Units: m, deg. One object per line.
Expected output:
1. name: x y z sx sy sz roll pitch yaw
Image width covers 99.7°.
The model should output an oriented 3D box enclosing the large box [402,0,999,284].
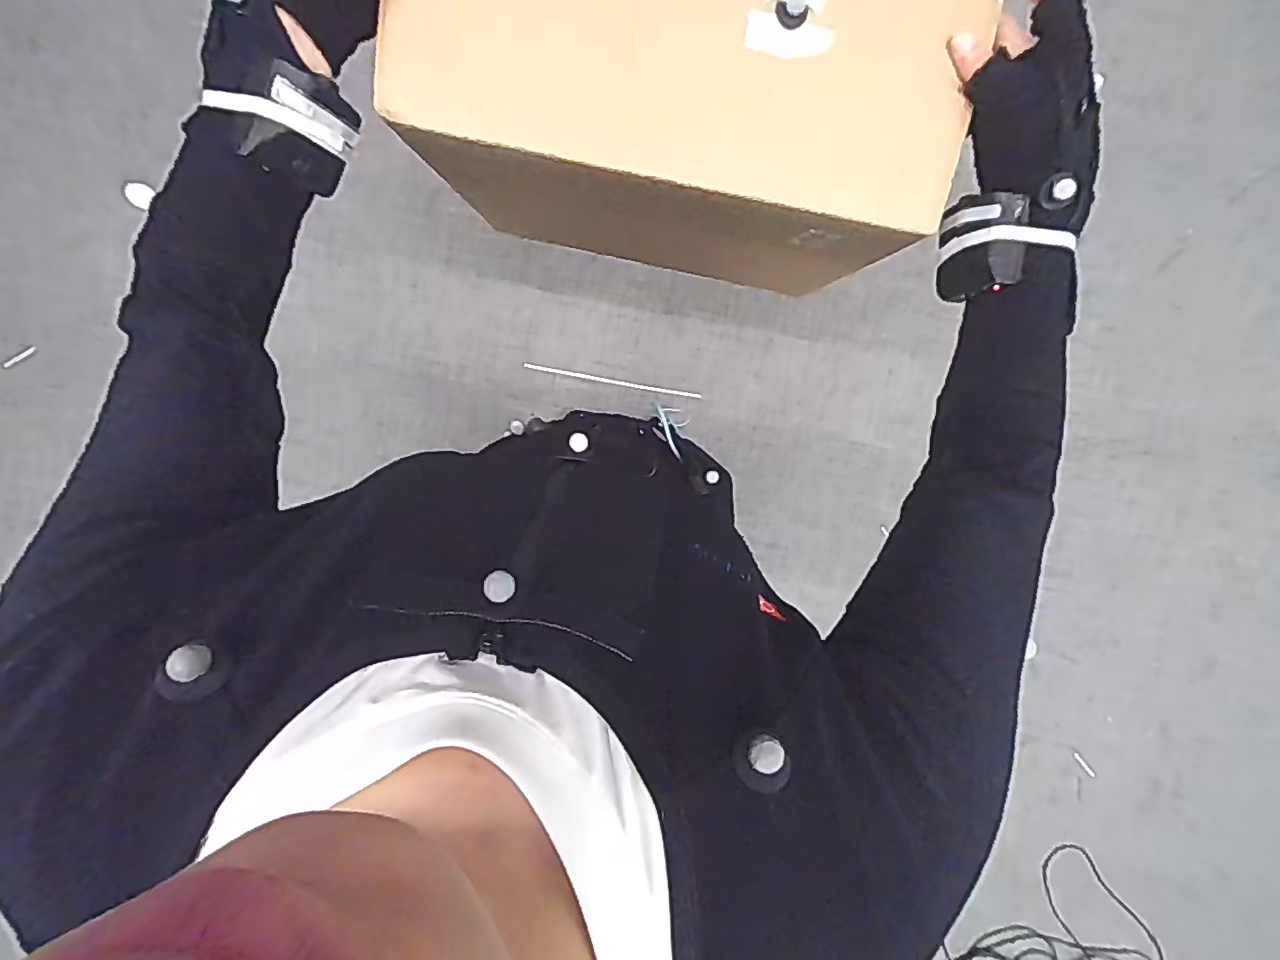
1. large box: 0.049 -0.400 0.505 0.408 0.320 0.320 10 101 -3
